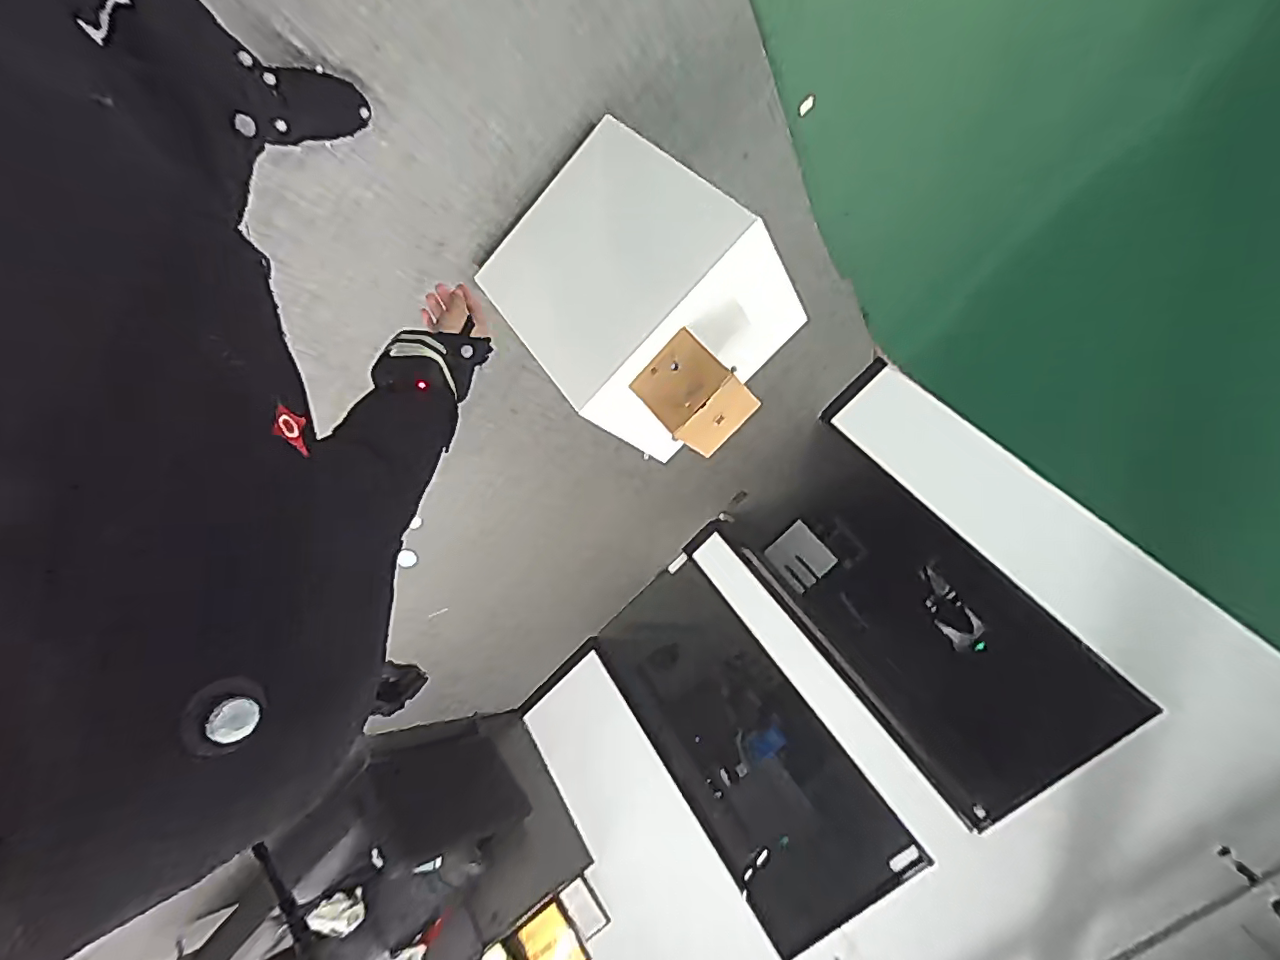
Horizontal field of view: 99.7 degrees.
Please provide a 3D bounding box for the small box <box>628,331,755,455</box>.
[{"bbox_3d":[0.108,-0.184,1.146,0.168,0.176,0.179,-46,150,14],"label":"small box"}]
